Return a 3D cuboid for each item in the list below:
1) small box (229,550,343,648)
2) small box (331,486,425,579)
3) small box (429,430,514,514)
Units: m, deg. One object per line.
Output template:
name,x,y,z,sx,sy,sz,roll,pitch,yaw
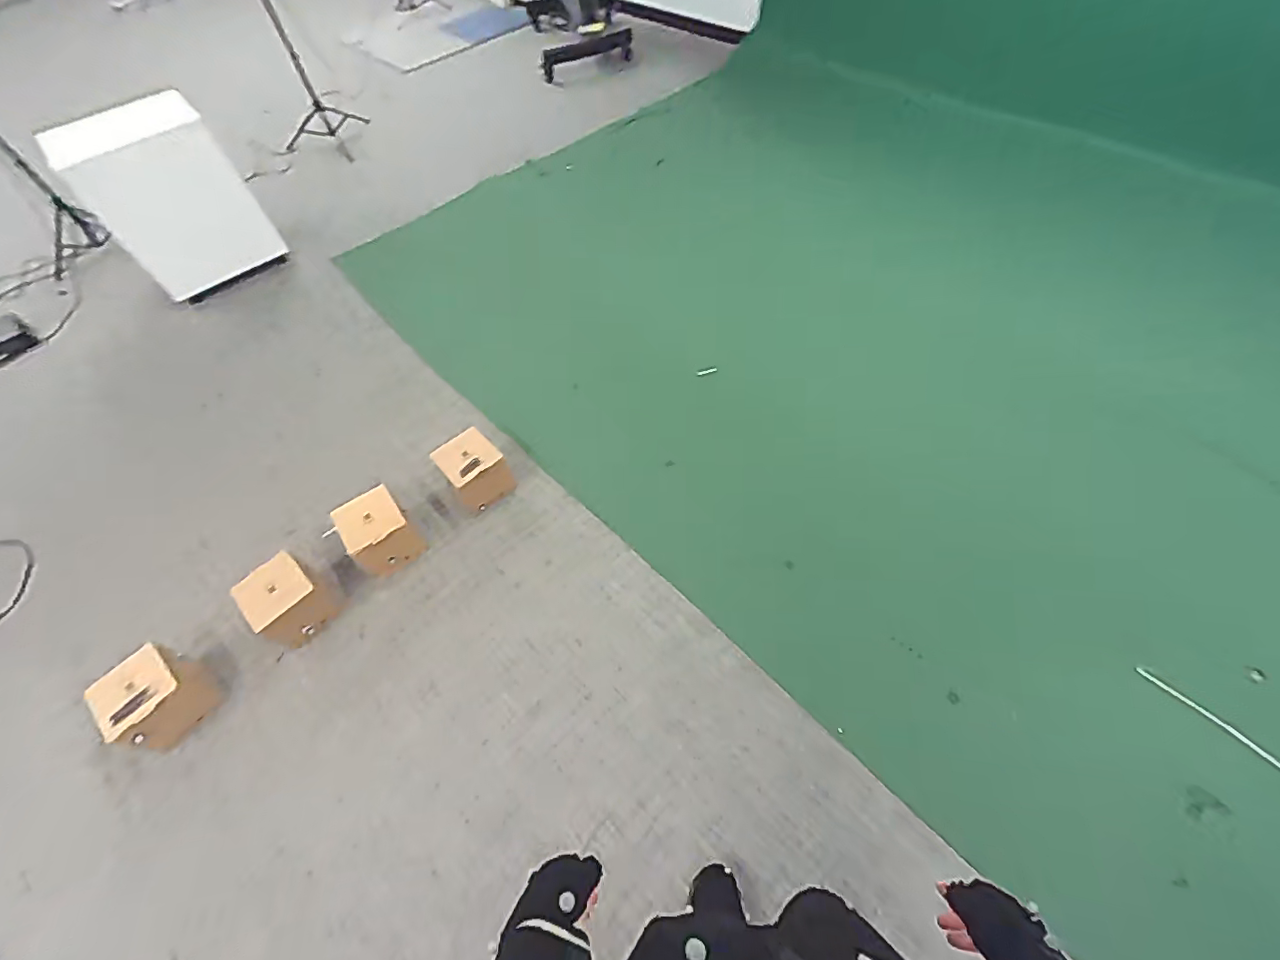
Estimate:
small box,-0.964,0.332,1.484,0.179,0.176,0.168,38,67,23
small box,-0.765,0.158,1.591,0.168,0.176,0.179,-33,61,-18
small box,-0.521,-0.018,1.696,0.168,0.176,0.179,-38,61,-20
